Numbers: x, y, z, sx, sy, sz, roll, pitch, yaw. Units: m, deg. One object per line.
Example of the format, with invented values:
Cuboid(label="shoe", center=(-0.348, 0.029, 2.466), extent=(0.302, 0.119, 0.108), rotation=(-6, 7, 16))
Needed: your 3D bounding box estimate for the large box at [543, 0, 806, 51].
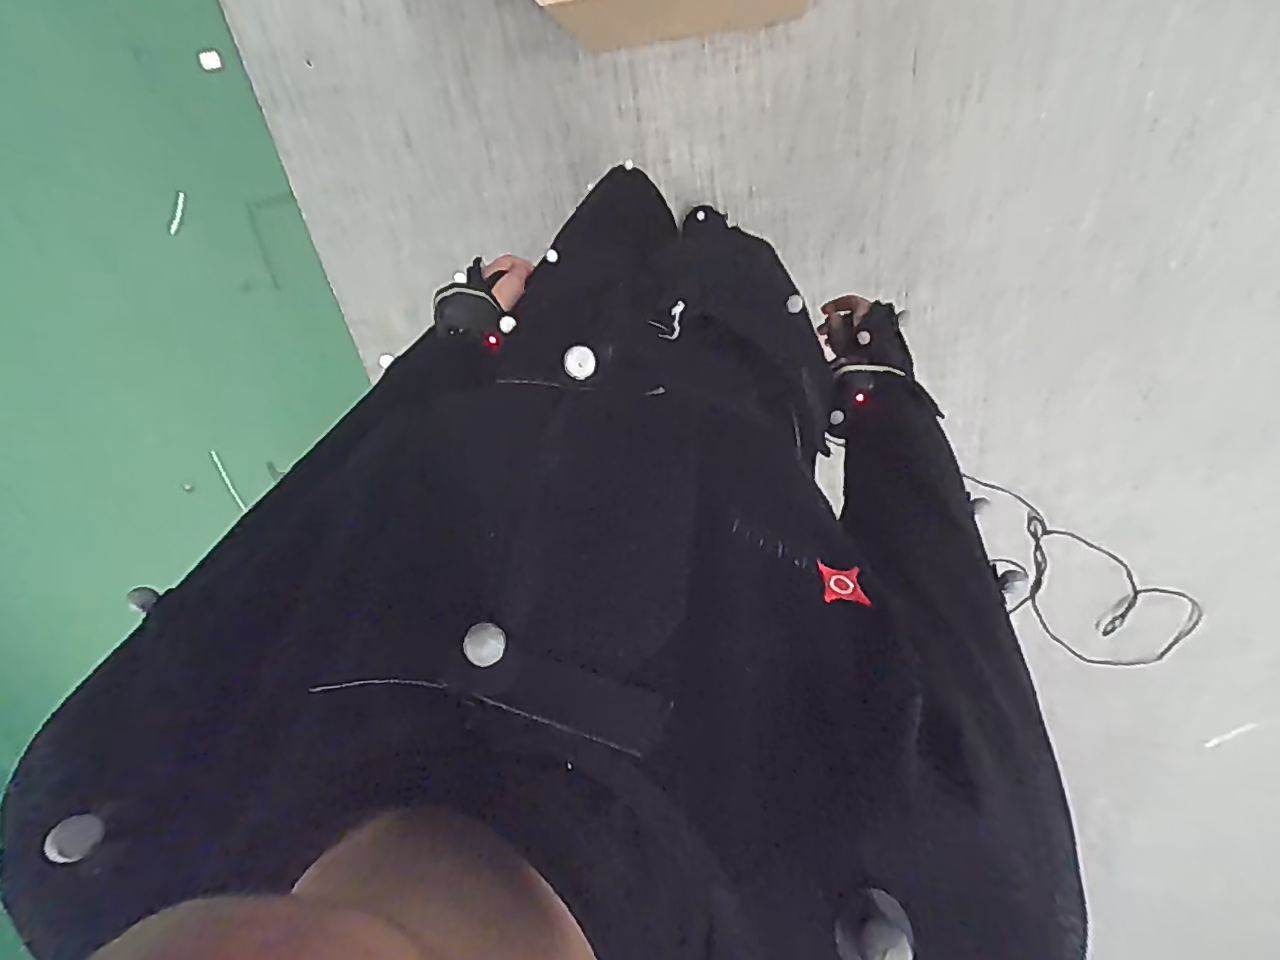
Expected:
Cuboid(label="large box", center=(0.056, -0.888, 0.796), extent=(0.408, 0.320, 0.320), rotation=(-2, 118, 11))
